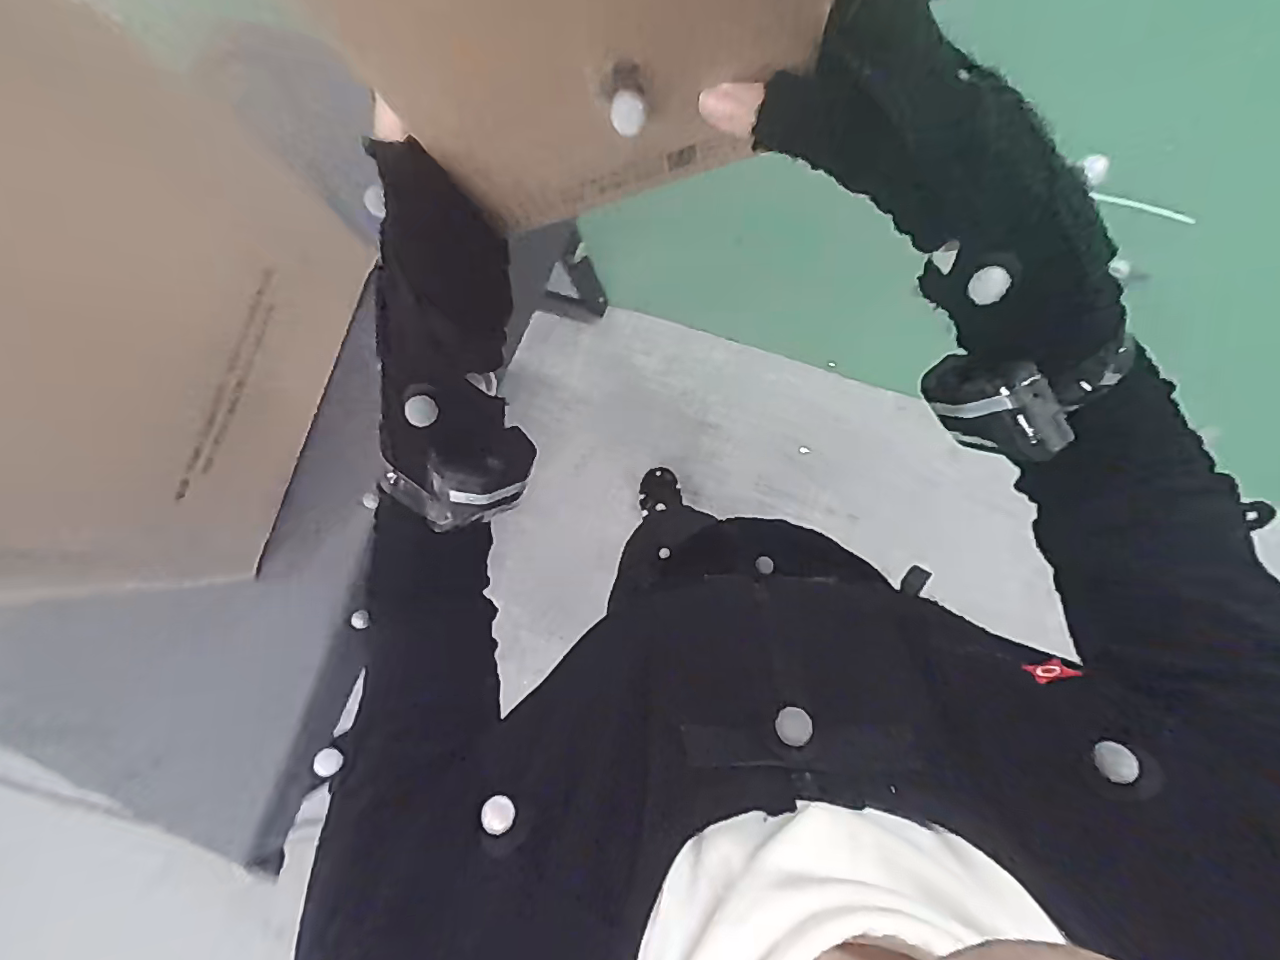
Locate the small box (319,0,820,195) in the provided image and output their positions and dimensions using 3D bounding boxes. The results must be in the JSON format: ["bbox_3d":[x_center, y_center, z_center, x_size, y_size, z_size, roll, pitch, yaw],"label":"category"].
[{"bbox_3d":[-0.024,-0.240,0.208,0.168,0.176,0.179,-12,89,6],"label":"small box"}]
